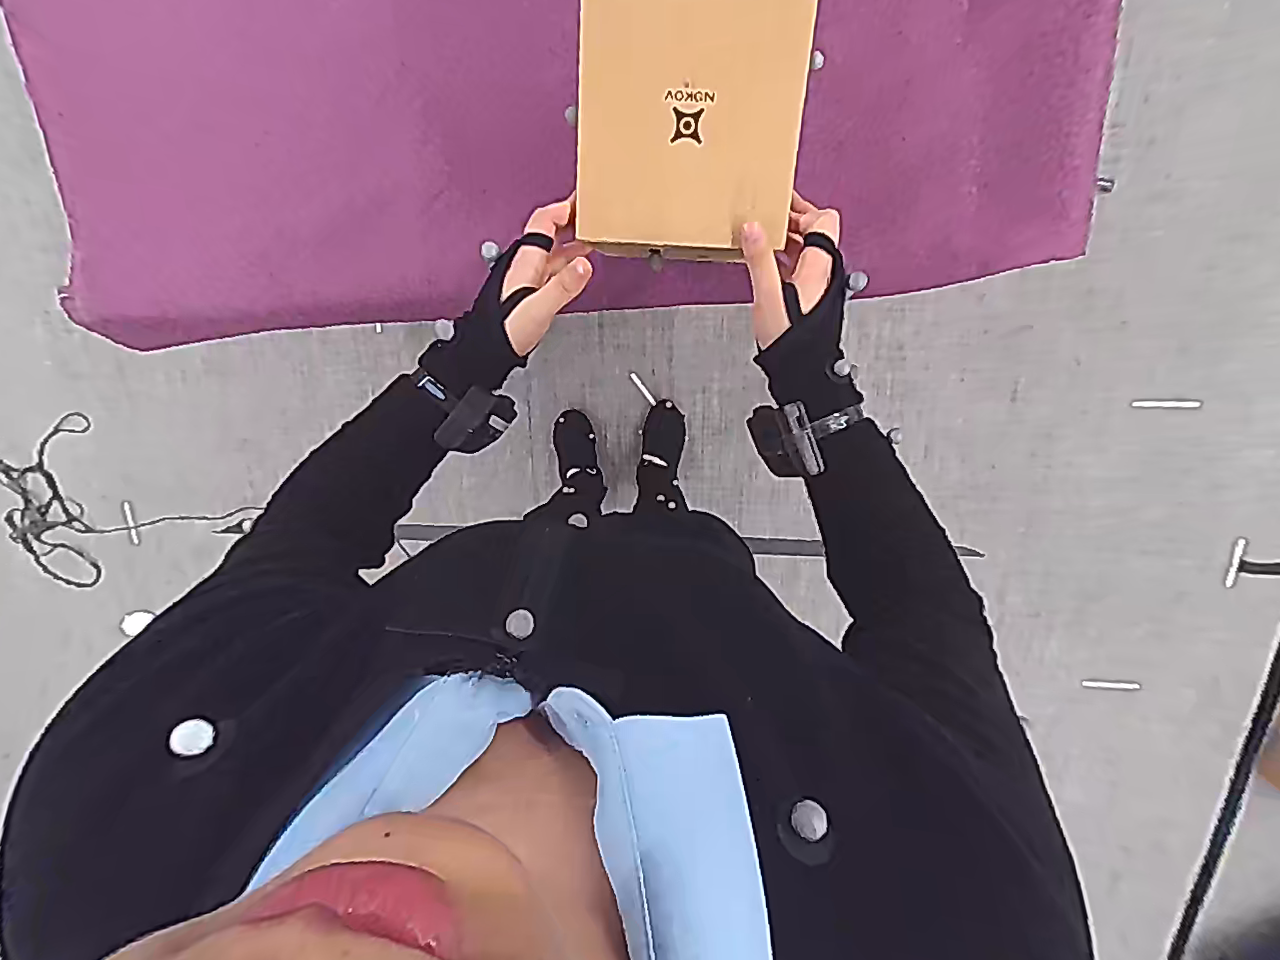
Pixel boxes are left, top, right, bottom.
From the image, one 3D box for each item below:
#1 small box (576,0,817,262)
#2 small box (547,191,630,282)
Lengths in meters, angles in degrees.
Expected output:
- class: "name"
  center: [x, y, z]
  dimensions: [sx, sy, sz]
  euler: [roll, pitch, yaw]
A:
- class: "small box"
  center: [0.043, -0.291, 0.473]
  dimensions: [0.168, 0.176, 0.179]
  euler: [5, 108, 3]
- class: "small box"
  center: [-0.112, -0.555, 1.252]
  dimensions: [0.168, 0.176, 0.179]
  euler: [1, 105, 4]
